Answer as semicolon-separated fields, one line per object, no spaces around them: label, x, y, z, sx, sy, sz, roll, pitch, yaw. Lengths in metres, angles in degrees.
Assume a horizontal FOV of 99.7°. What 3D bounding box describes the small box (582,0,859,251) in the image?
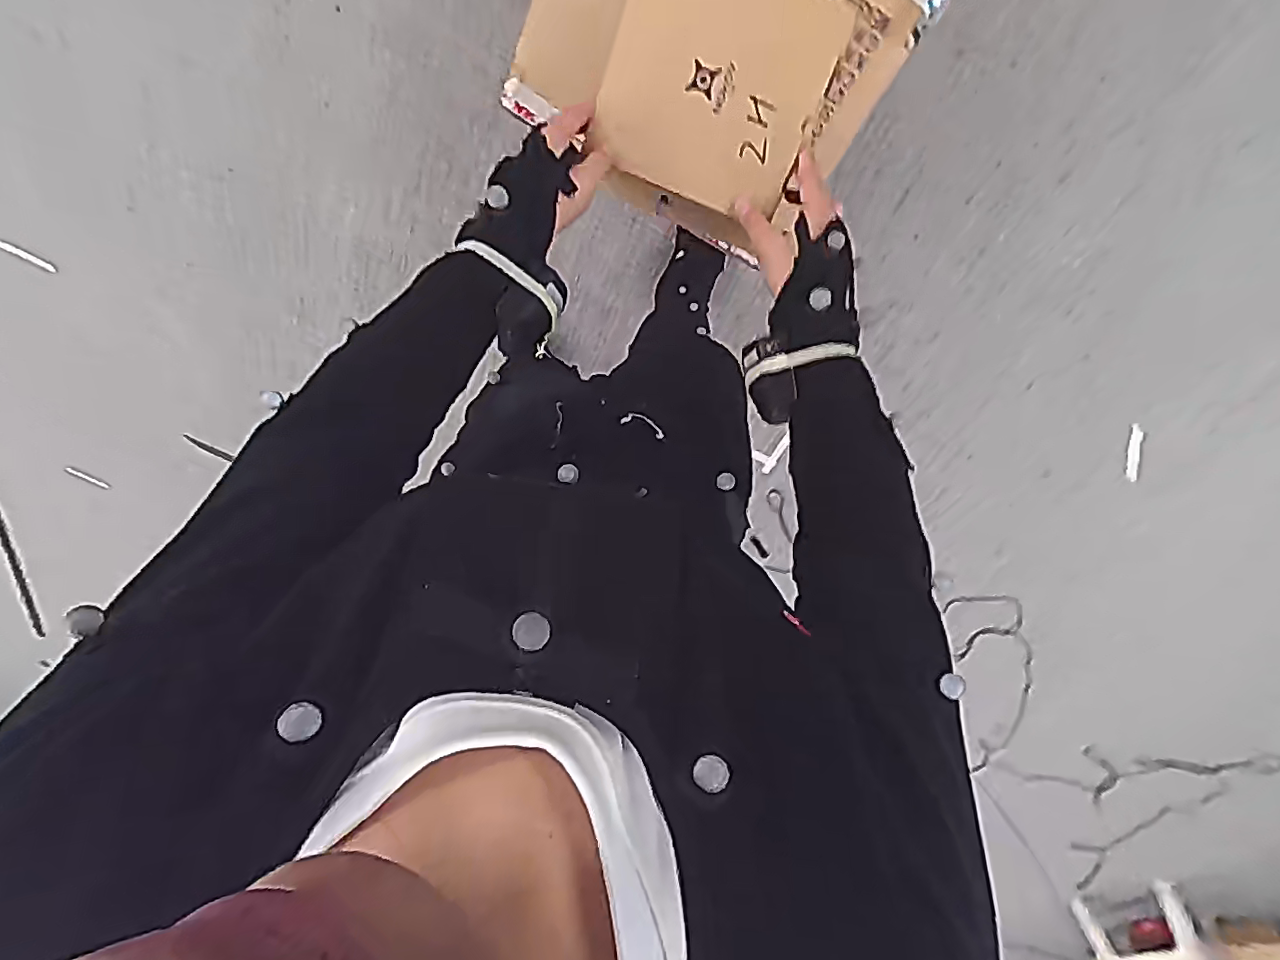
small box;0.069;-0.333;0.511;0.179;0.176;0.168;23;108;1
